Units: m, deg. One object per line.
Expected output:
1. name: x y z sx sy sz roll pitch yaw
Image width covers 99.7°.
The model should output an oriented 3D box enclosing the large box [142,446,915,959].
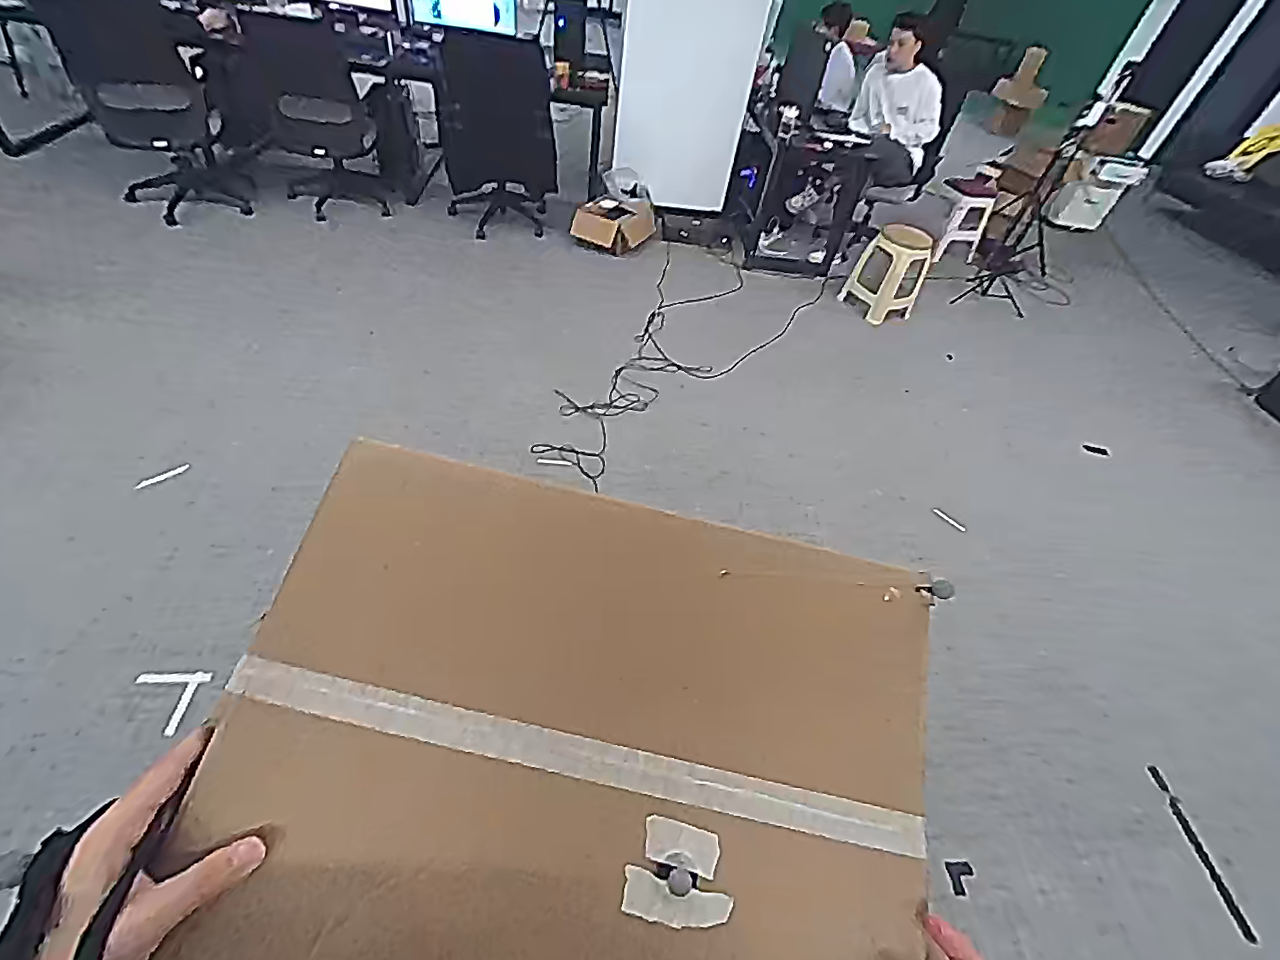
1. large box: -0.044 0.208 0.466 0.408 0.320 0.320 14 70 1
